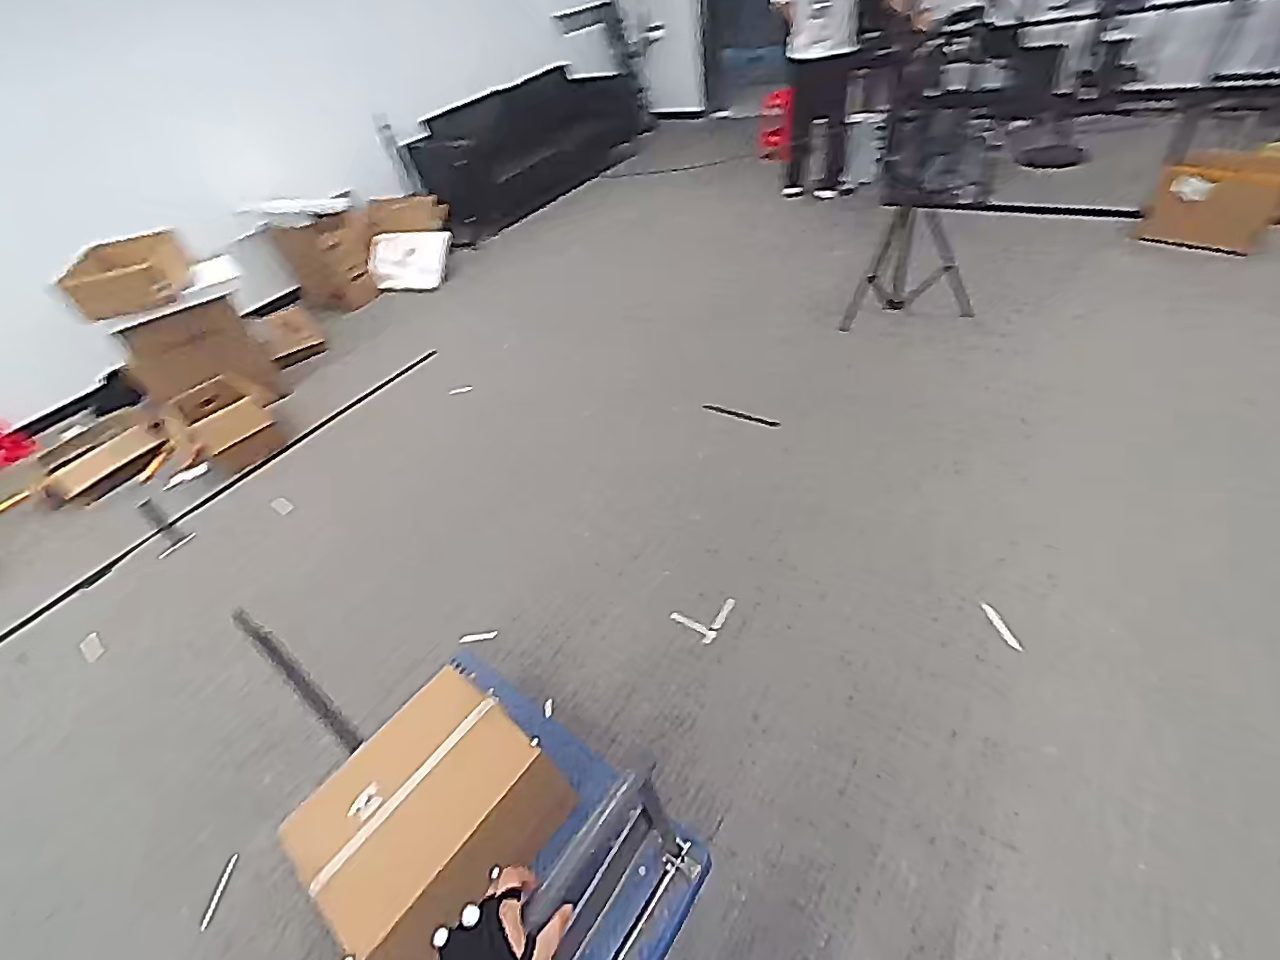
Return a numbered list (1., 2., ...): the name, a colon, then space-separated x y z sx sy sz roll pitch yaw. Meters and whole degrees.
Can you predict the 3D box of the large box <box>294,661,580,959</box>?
1. large box: -0.393 0.680 1.137 0.320 0.320 0.408 25 56 34
